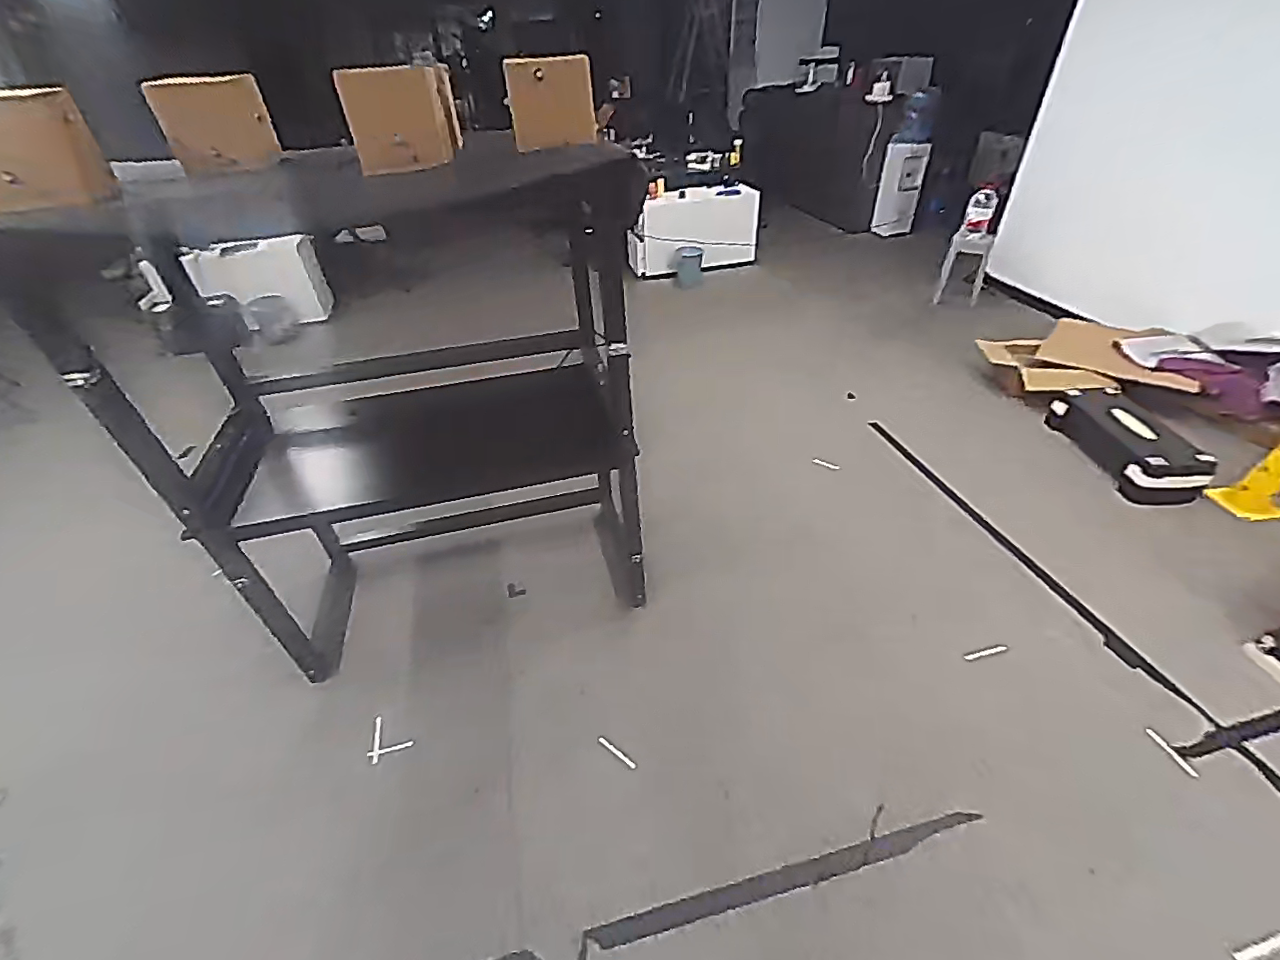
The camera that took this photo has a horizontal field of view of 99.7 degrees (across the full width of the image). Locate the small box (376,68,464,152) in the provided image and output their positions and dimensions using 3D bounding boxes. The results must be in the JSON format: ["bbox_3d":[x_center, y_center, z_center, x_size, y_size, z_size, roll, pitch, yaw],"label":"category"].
[{"bbox_3d":[-0.530,-0.879,1.298,0.179,0.176,0.168,-10,39,-8],"label":"small box"}]

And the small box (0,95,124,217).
[{"bbox_3d":[-1.105,-0.593,0.988,0.168,0.176,0.179,-17,42,-17],"label":"small box"}]

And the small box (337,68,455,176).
[{"bbox_3d":[-0.484,-0.728,1.103,0.168,0.176,0.179,-10,38,-7],"label":"small box"}]

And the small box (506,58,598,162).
[{"bbox_3d":[-0.187,-0.792,1.160,0.168,0.176,0.179,-9,38,-6],"label":"small box"}]
